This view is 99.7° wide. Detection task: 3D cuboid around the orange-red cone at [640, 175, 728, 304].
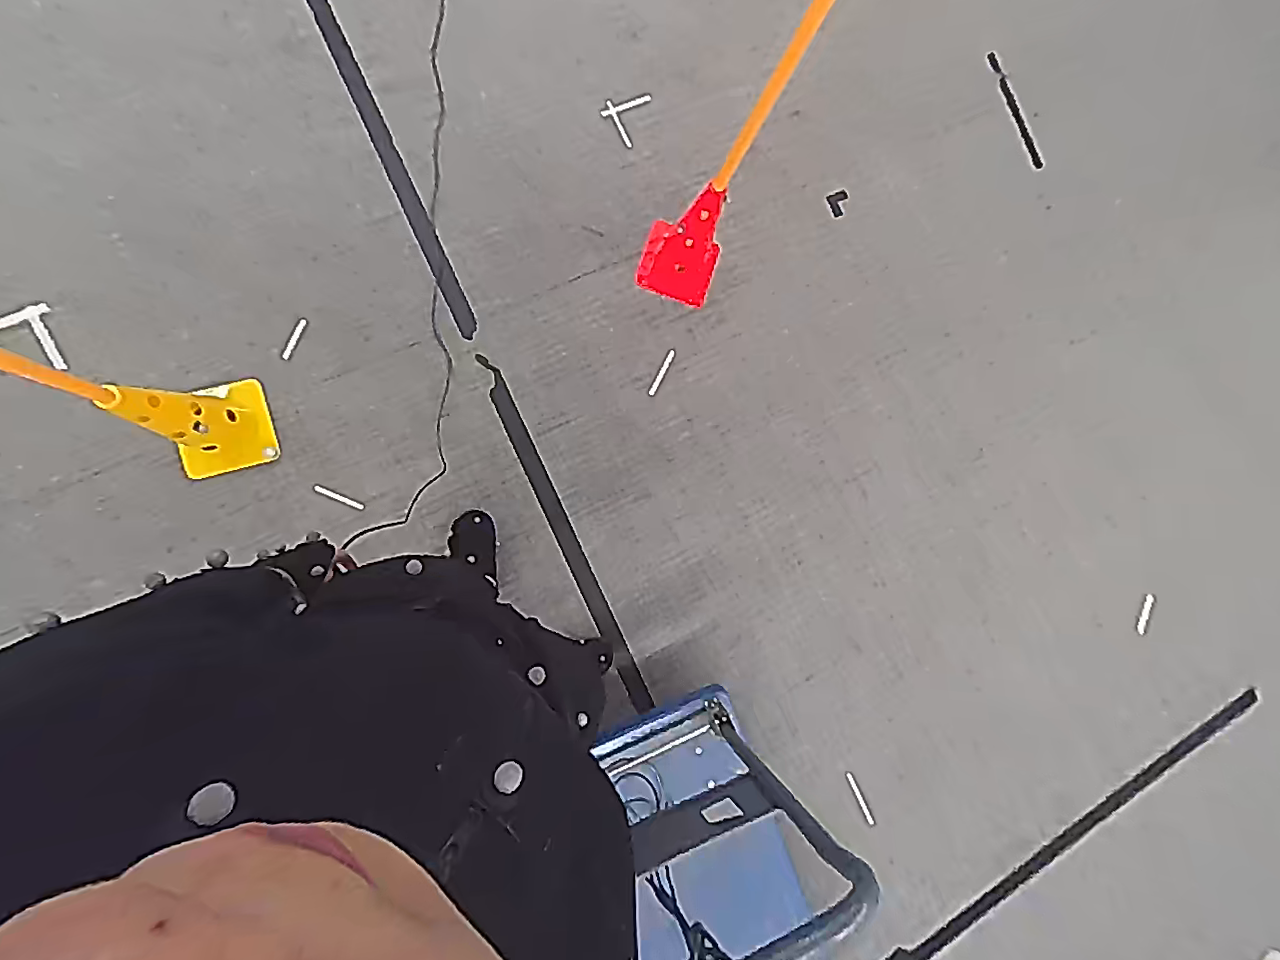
[{"bbox_3d":[0.141,-0.606,1.300,0.198,0.360,0.199,20,84,-7],"label":"orange-red cone"}]
